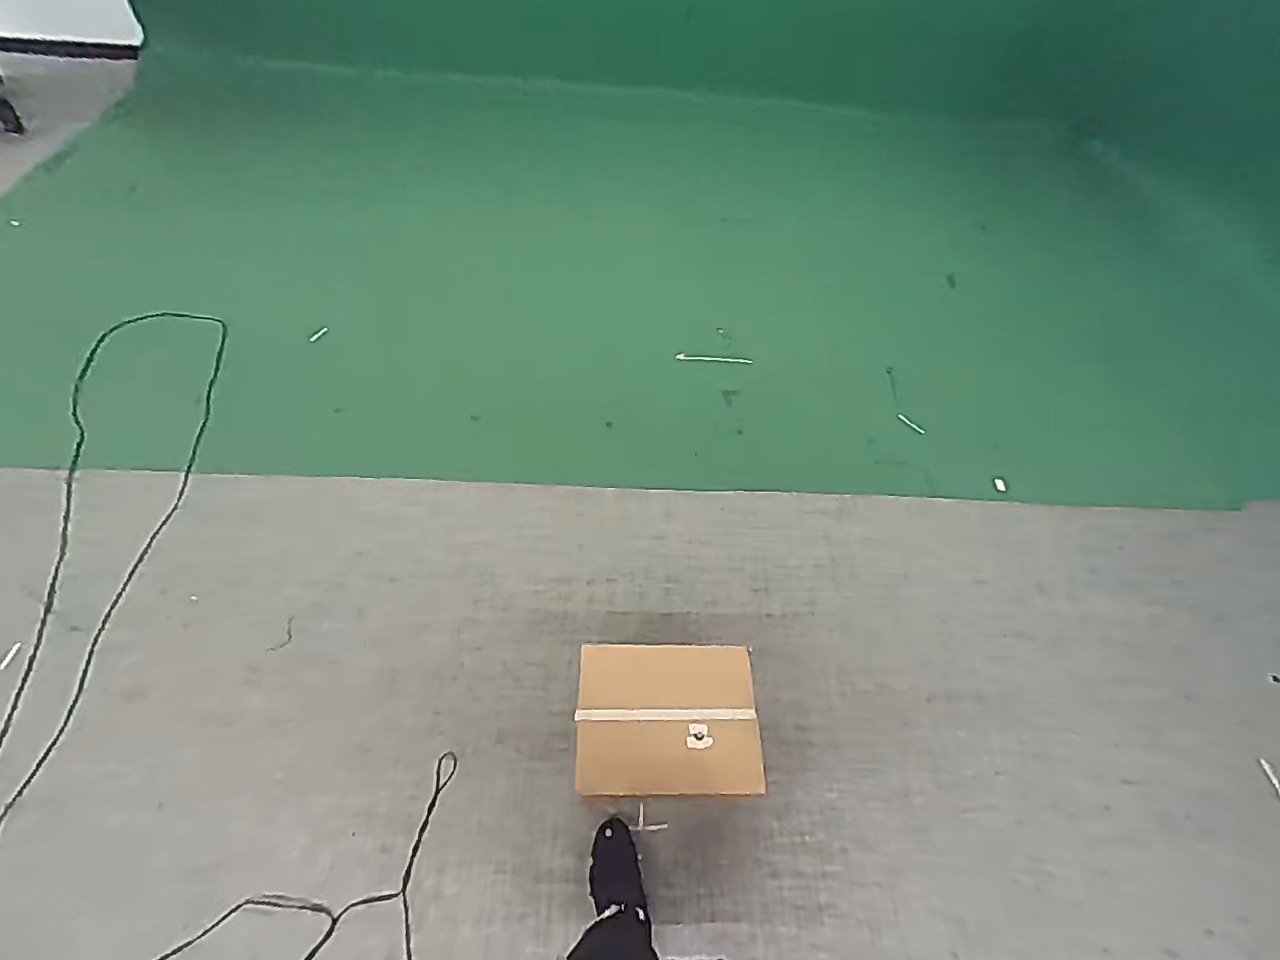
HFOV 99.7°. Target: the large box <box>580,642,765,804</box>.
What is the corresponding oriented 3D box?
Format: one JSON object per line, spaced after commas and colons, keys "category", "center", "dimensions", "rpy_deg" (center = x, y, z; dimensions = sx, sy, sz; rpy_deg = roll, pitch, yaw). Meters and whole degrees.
{"category": "large box", "center": [0.055, 0.608, 1.345], "dimensions": [0.408, 0.320, 0.320], "rpy_deg": [1, 56, -4]}
